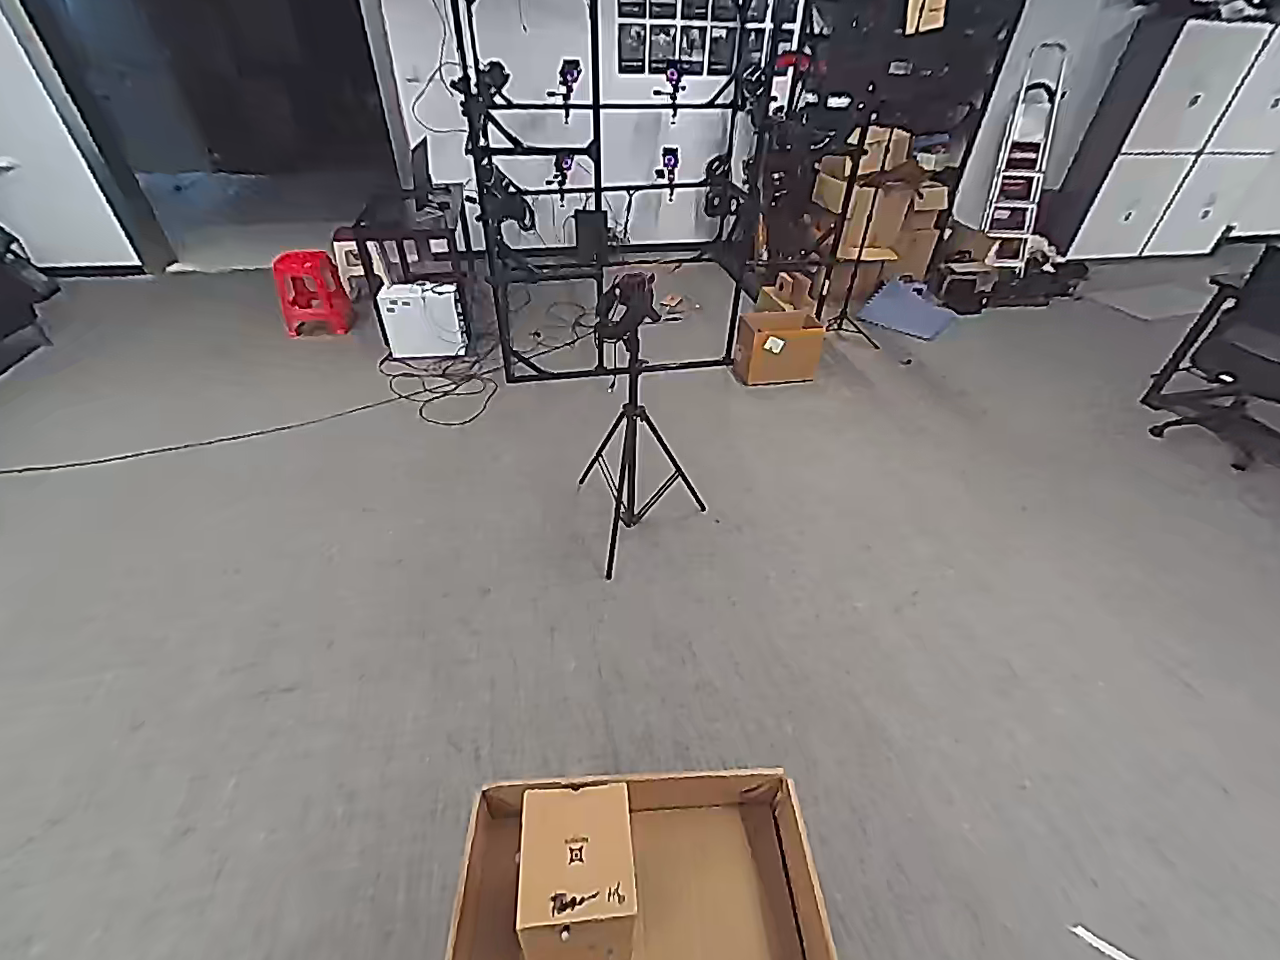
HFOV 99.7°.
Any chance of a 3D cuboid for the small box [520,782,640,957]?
[{"bbox_3d":[-0.093,0.604,0.842,0.168,0.176,0.179,-1,38,-6],"label":"small box"}]
